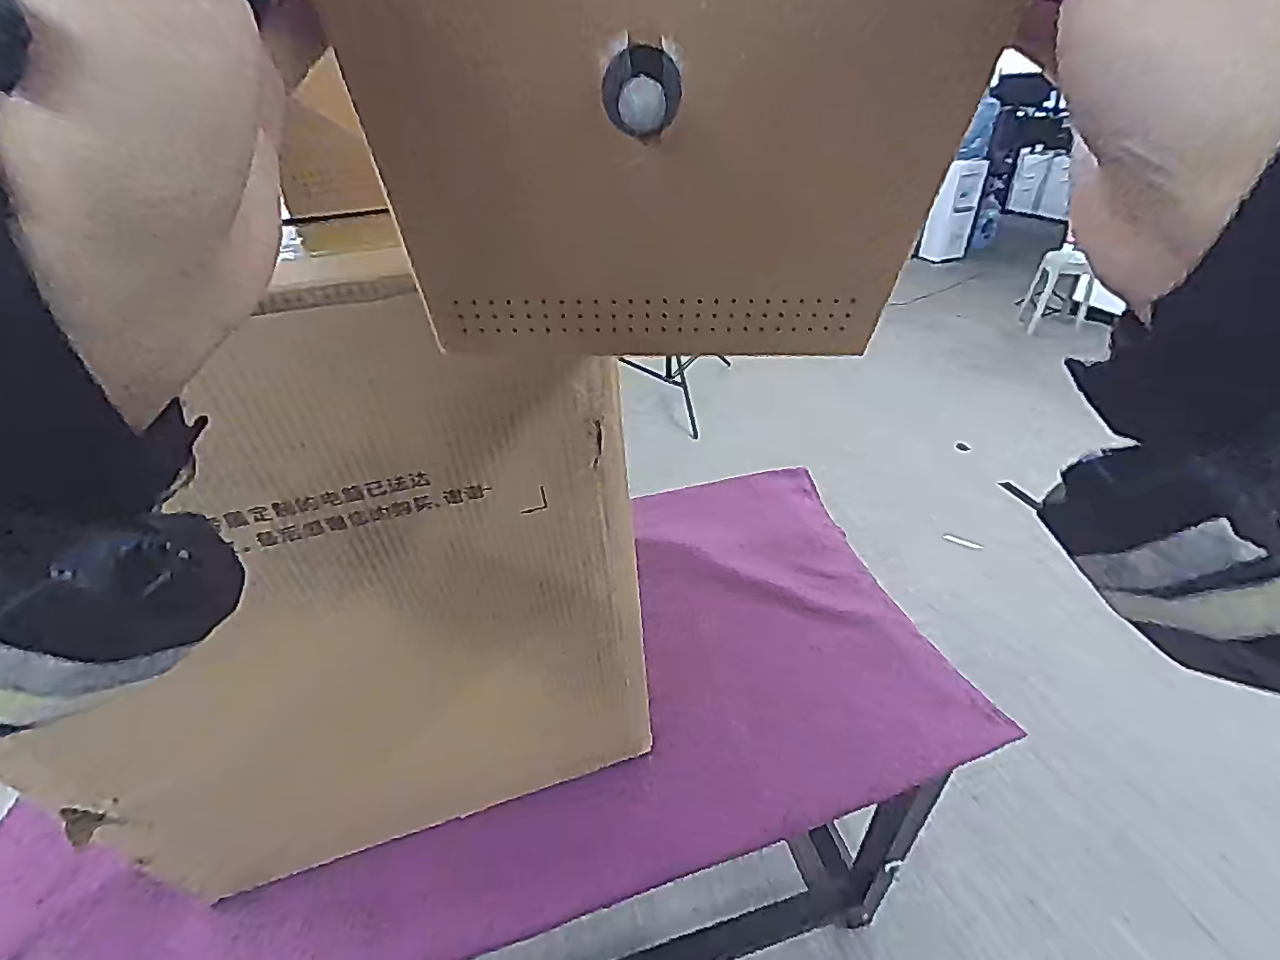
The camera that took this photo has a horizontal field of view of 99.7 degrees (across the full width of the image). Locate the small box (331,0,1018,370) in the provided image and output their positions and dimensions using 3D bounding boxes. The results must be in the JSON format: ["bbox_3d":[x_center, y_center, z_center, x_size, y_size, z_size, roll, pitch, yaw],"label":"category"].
[{"bbox_3d":[0.009,-0.158,0.212,0.179,0.176,0.168,-1,53,0],"label":"small box"}]
